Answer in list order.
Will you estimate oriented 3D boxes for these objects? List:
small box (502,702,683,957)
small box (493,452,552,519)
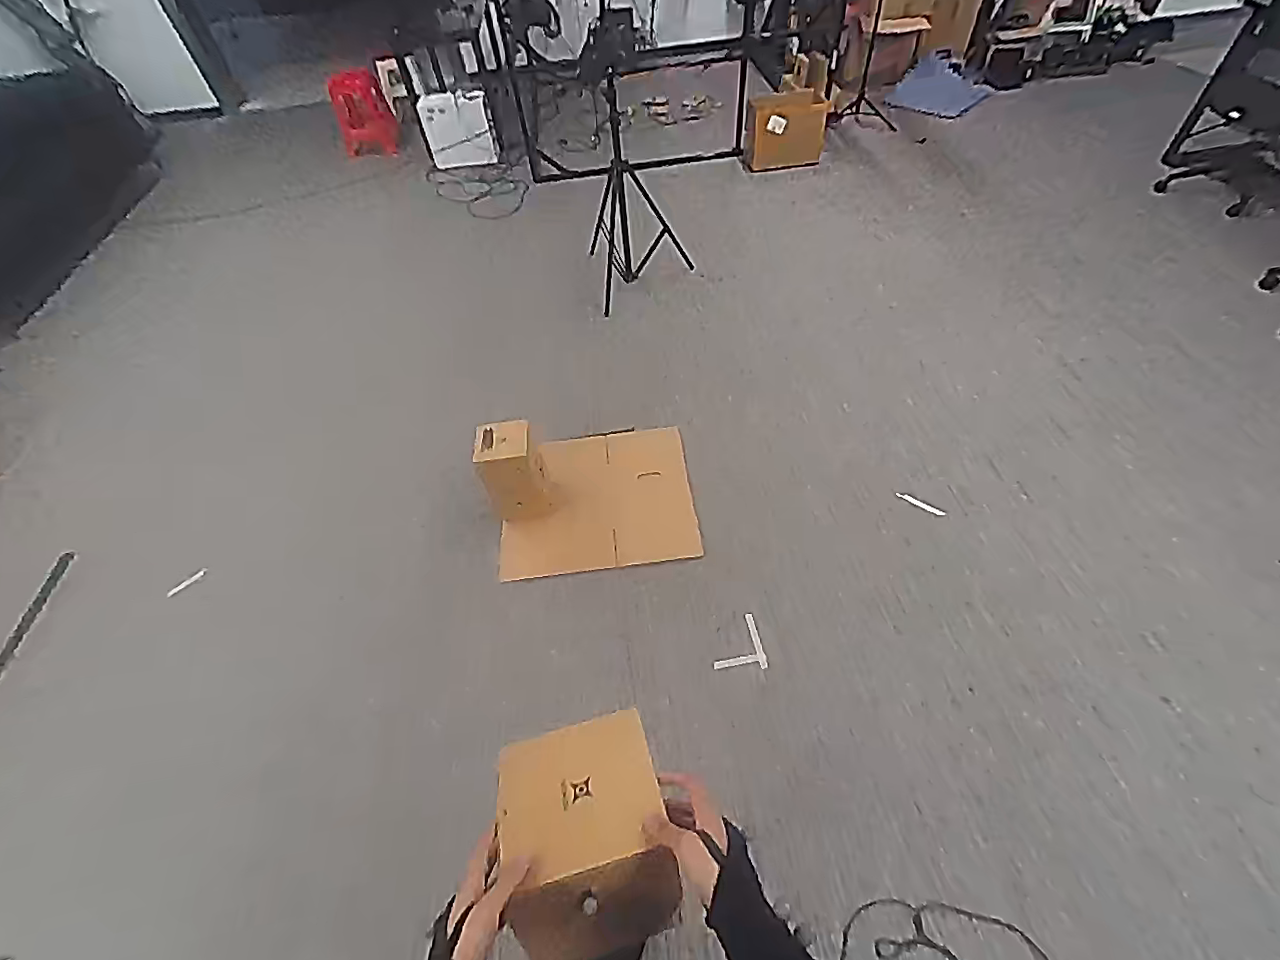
[{"bbox_3d":[-0.054,0.400,0.629,0.179,0.176,0.168,-14,29,-8],"label":"small box"},{"bbox_3d":[-0.416,0.022,1.949,0.179,0.176,0.168,-8,52,0],"label":"small box"}]
